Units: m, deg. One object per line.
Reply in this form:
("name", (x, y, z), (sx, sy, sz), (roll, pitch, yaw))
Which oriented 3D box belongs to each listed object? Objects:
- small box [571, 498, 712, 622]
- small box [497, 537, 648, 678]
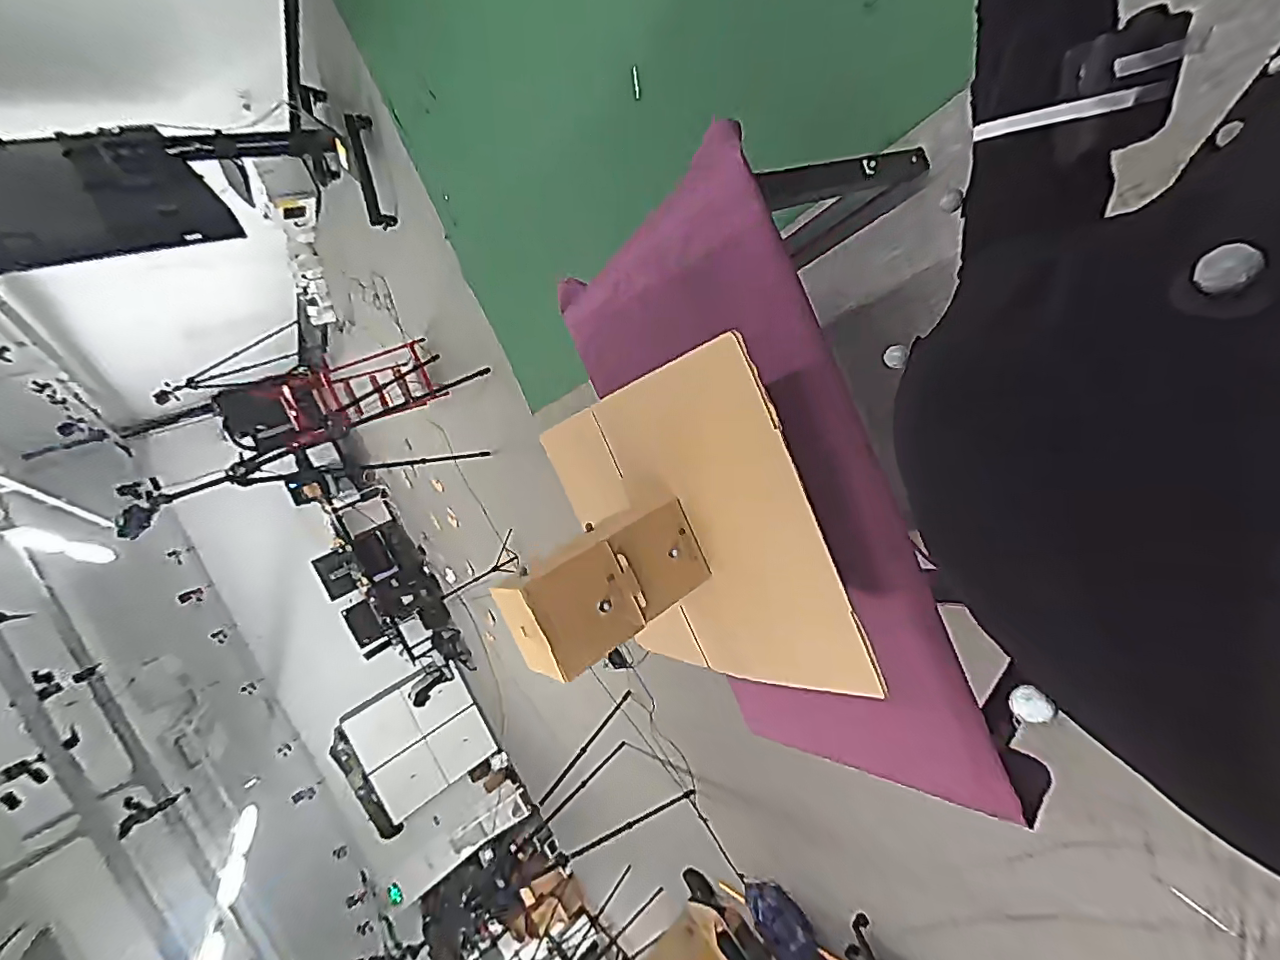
("small box", (0.003, 0.145, 1.023), (0.179, 0.176, 0.168), (-13, 103, 58))
("small box", (-0.116, 0.211, 0.932), (0.179, 0.176, 0.168), (-18, 99, 58))
